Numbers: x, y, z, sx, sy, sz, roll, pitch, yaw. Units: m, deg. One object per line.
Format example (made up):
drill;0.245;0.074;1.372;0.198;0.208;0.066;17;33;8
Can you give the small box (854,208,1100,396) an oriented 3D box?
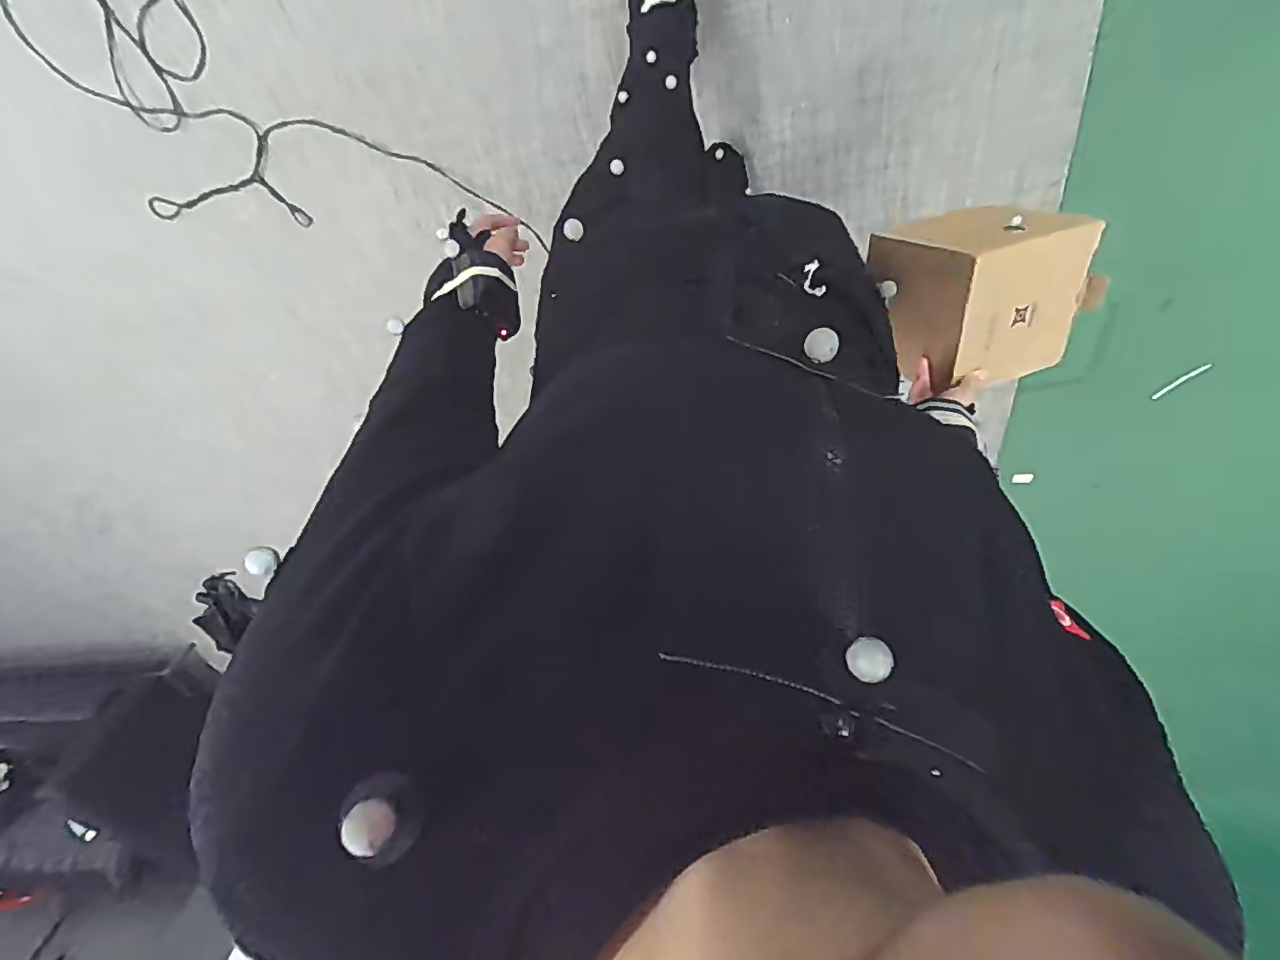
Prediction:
small box;0.397;-0.228;0.668;0.179;0.176;0.168;-19;124;-12
